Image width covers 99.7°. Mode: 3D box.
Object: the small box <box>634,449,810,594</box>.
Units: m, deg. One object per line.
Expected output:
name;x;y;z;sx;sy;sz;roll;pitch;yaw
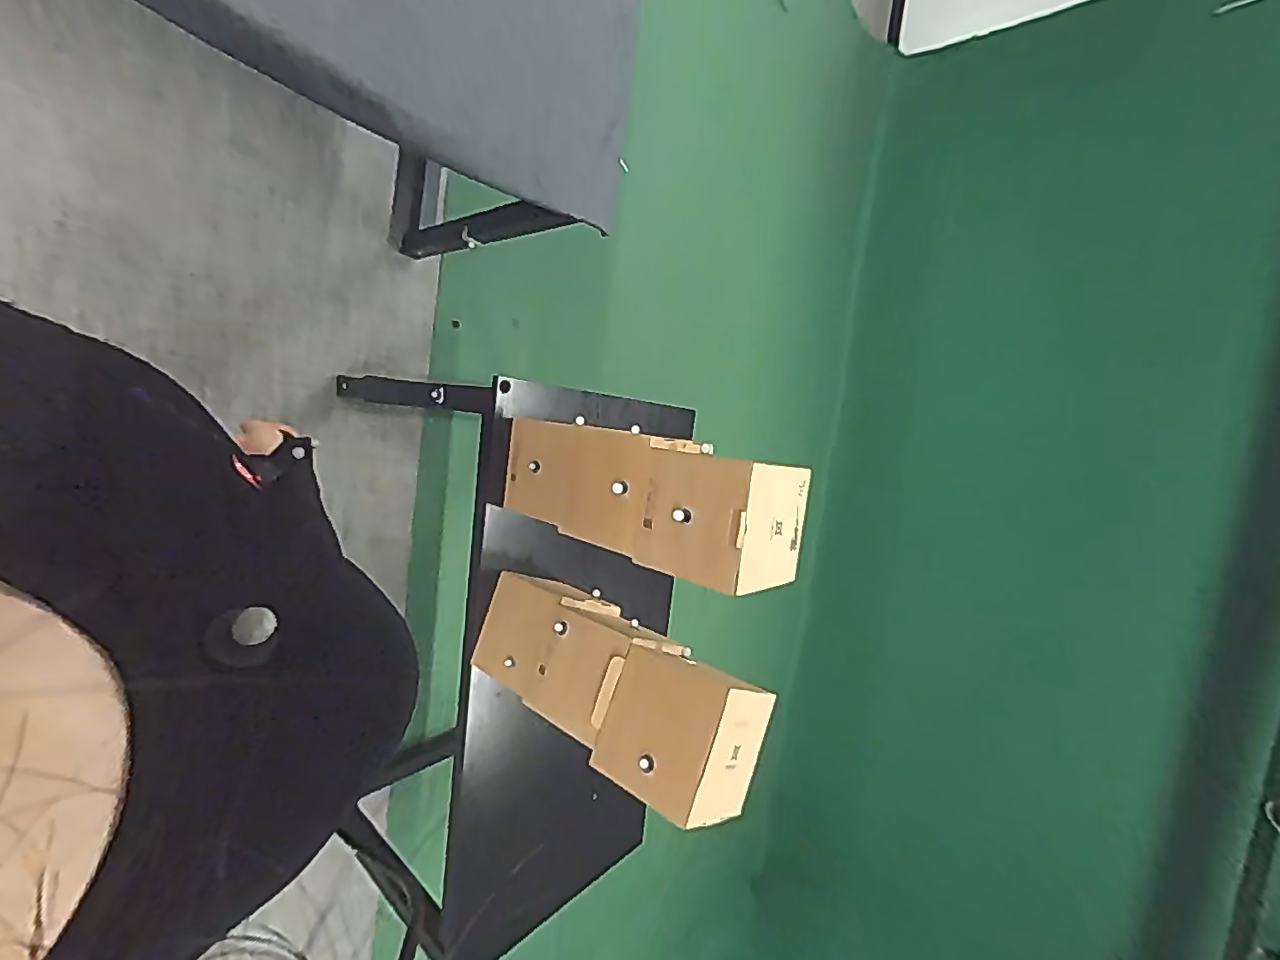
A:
small box;0.112;0.050;0.753;0.179;0.176;0.168;3;96;-49

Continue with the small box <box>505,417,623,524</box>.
small box;-0.121;-0.019;0.972;0.179;0.176;0.168;1;99;-50

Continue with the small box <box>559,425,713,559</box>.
small box;-0.010;0.014;0.857;0.168;0.176;0.179;1;98;-50

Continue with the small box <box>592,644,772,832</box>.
small box;0.057;0.354;0.766;0.168;0.176;0.179;33;74;-50

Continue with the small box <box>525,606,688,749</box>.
small box;-0.056;0.315;0.878;0.179;0.176;0.168;30;77;-50
